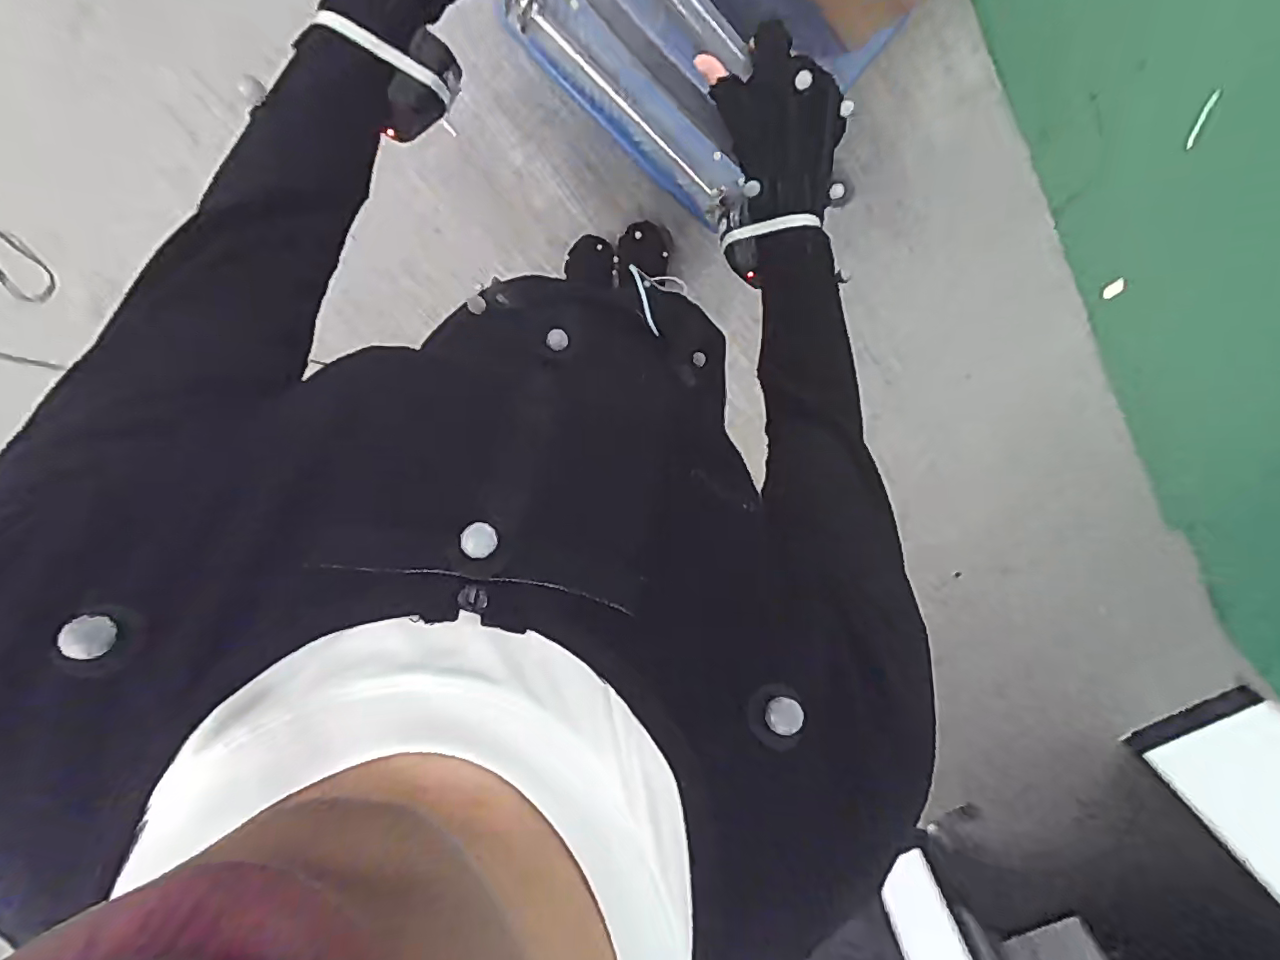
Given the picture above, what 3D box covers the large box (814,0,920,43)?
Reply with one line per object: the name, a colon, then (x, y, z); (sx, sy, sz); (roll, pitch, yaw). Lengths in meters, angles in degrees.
large box: (0.329, -0.932, 0.742); (0.408, 0.320, 0.320); (36, 111, -17)
